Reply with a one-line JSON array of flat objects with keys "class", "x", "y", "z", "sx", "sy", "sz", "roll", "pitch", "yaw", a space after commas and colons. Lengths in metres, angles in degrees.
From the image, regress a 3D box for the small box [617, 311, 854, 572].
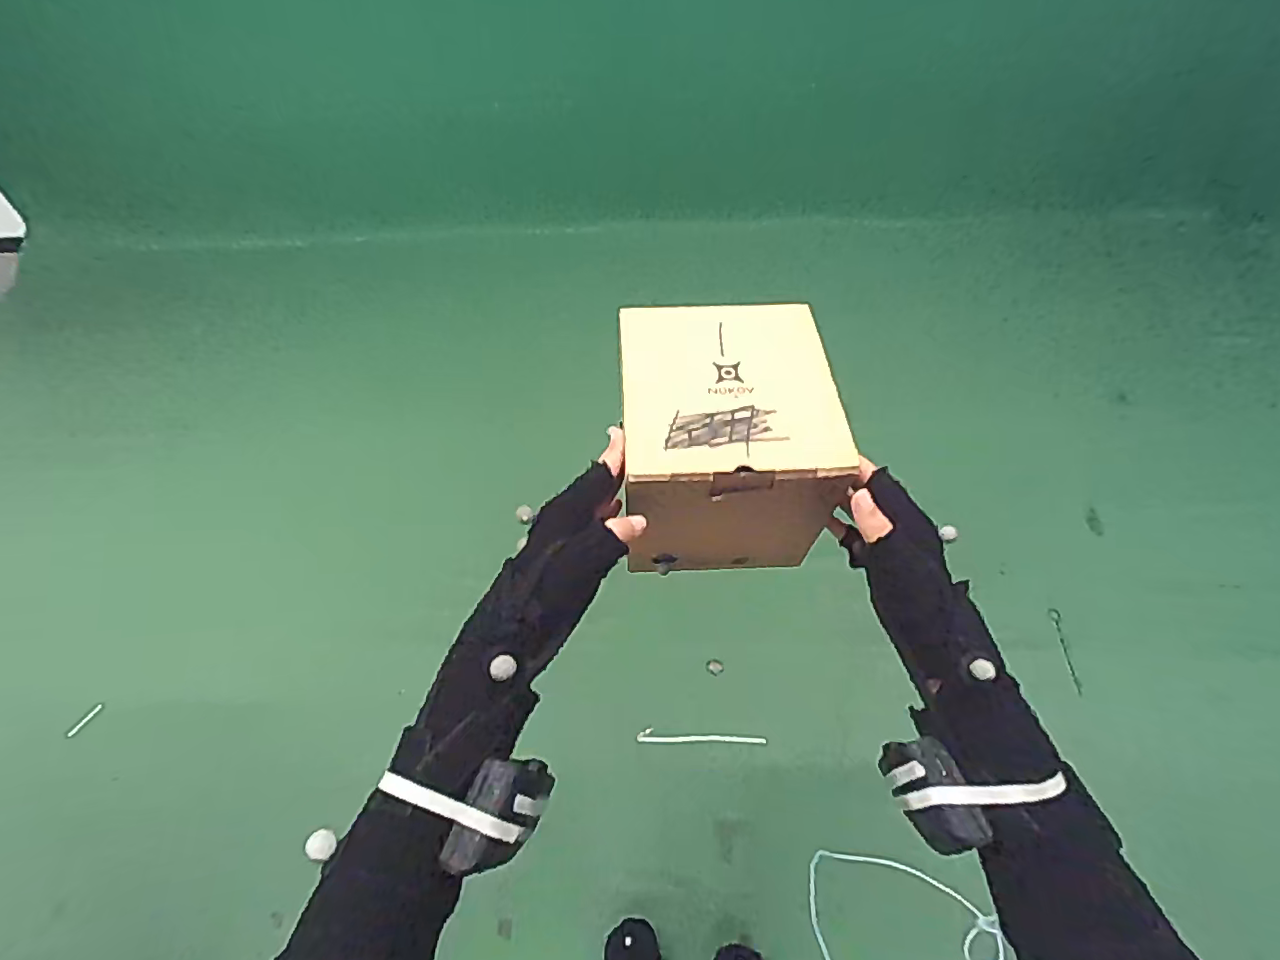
[{"class": "small box", "x": 0.066, "y": -0.026, "z": 0.484, "sx": 0.168, "sy": 0.176, "sz": 0.179, "roll": -2, "pitch": 55, "yaw": -2}]
